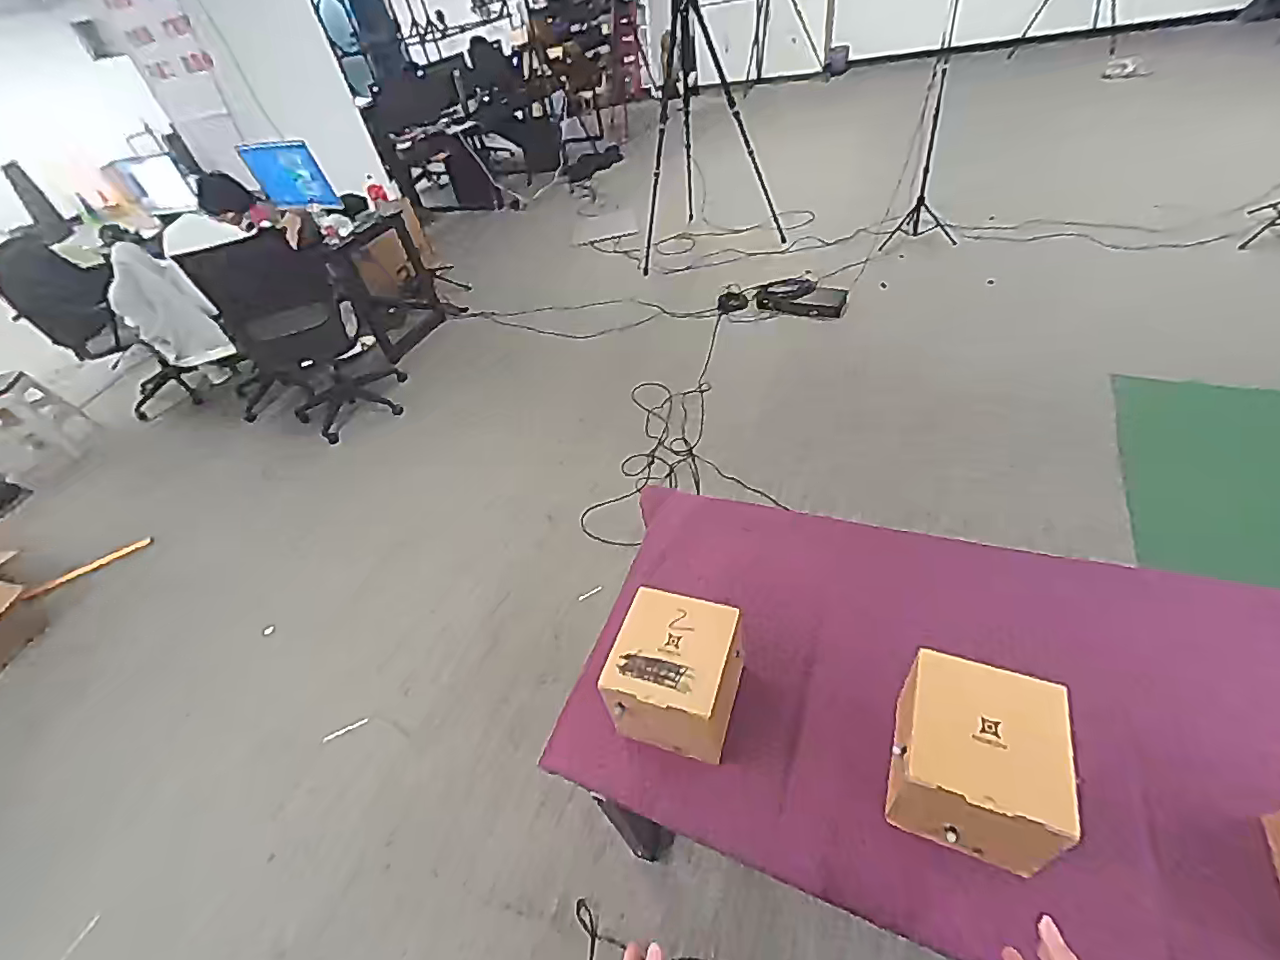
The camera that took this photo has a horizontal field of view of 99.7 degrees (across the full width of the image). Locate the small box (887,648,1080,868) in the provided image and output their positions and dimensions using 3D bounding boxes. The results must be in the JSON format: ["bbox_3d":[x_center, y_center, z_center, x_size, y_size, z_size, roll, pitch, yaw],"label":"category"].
[{"bbox_3d":[0.427,0.355,0.697,0.168,0.176,0.179,11,49,23],"label":"small box"}]
